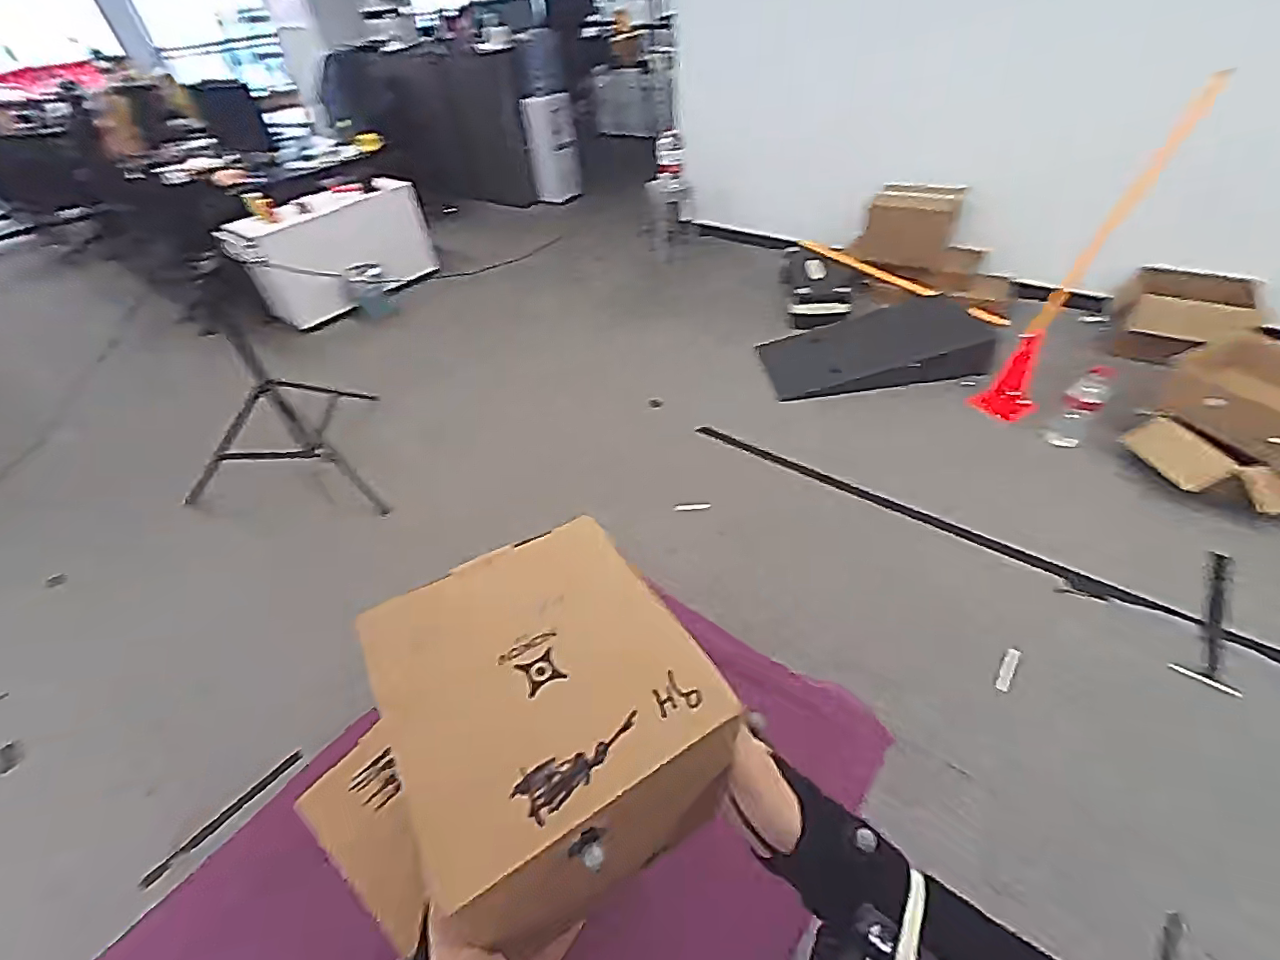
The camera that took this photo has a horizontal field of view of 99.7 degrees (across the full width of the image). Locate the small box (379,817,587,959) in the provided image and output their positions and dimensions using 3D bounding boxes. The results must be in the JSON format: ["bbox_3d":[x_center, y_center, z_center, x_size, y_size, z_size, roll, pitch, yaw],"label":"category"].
[{"bbox_3d":[-0.142,0.419,0.604,0.168,0.176,0.179,25,52,29],"label":"small box"}]

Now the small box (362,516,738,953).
[{"bbox_3d":[-0.059,0.161,0.364,0.168,0.176,0.179,-24,46,-23],"label":"small box"}]
